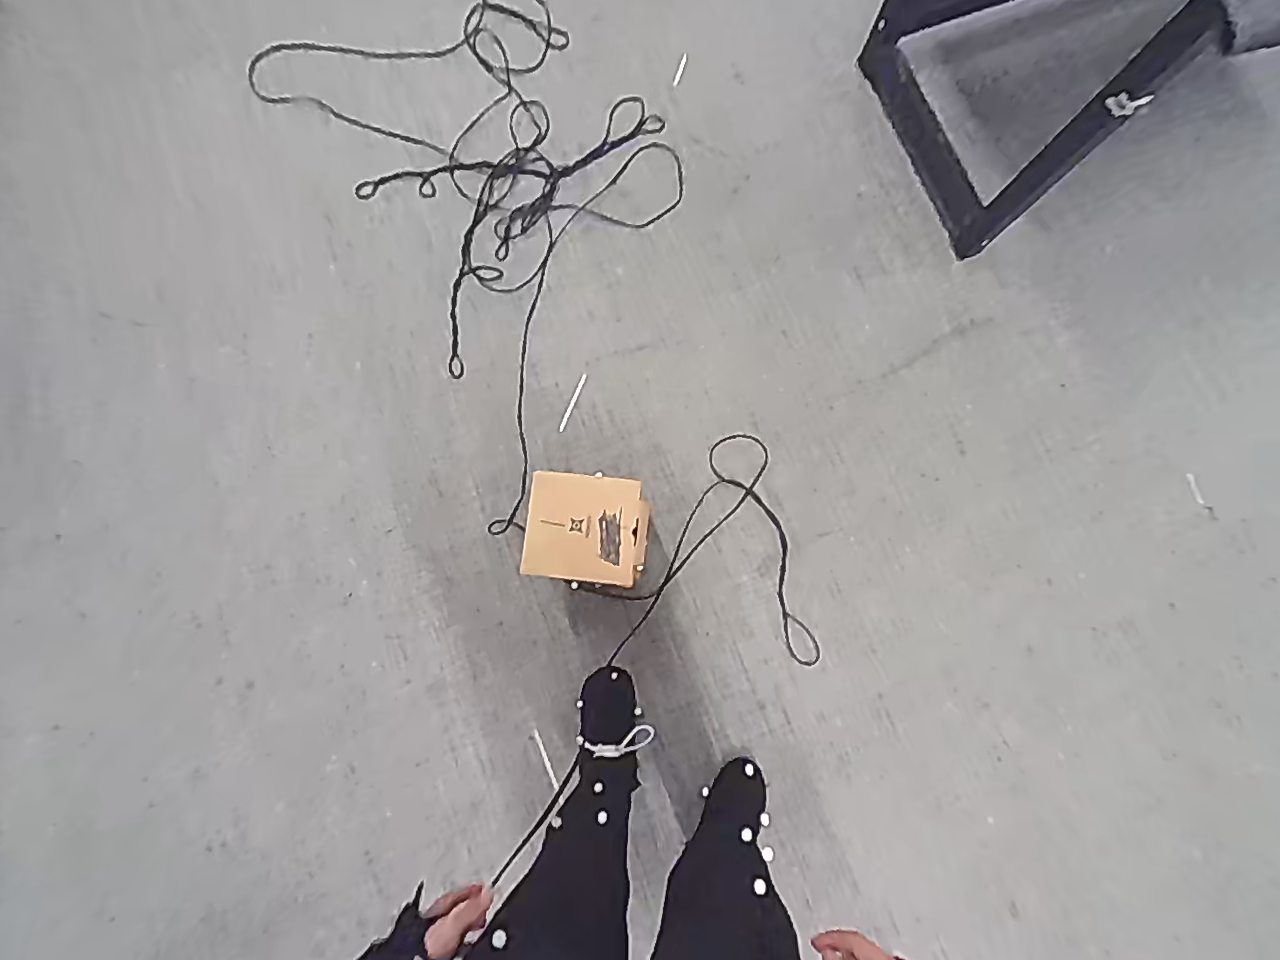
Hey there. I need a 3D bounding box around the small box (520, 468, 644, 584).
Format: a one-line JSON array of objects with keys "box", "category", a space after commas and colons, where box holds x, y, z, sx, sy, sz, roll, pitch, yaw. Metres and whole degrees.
[{"box": [-0.088, 0.082, 0.916, 0.179, 0.176, 0.168, 6, 80, 2], "category": "small box"}]
